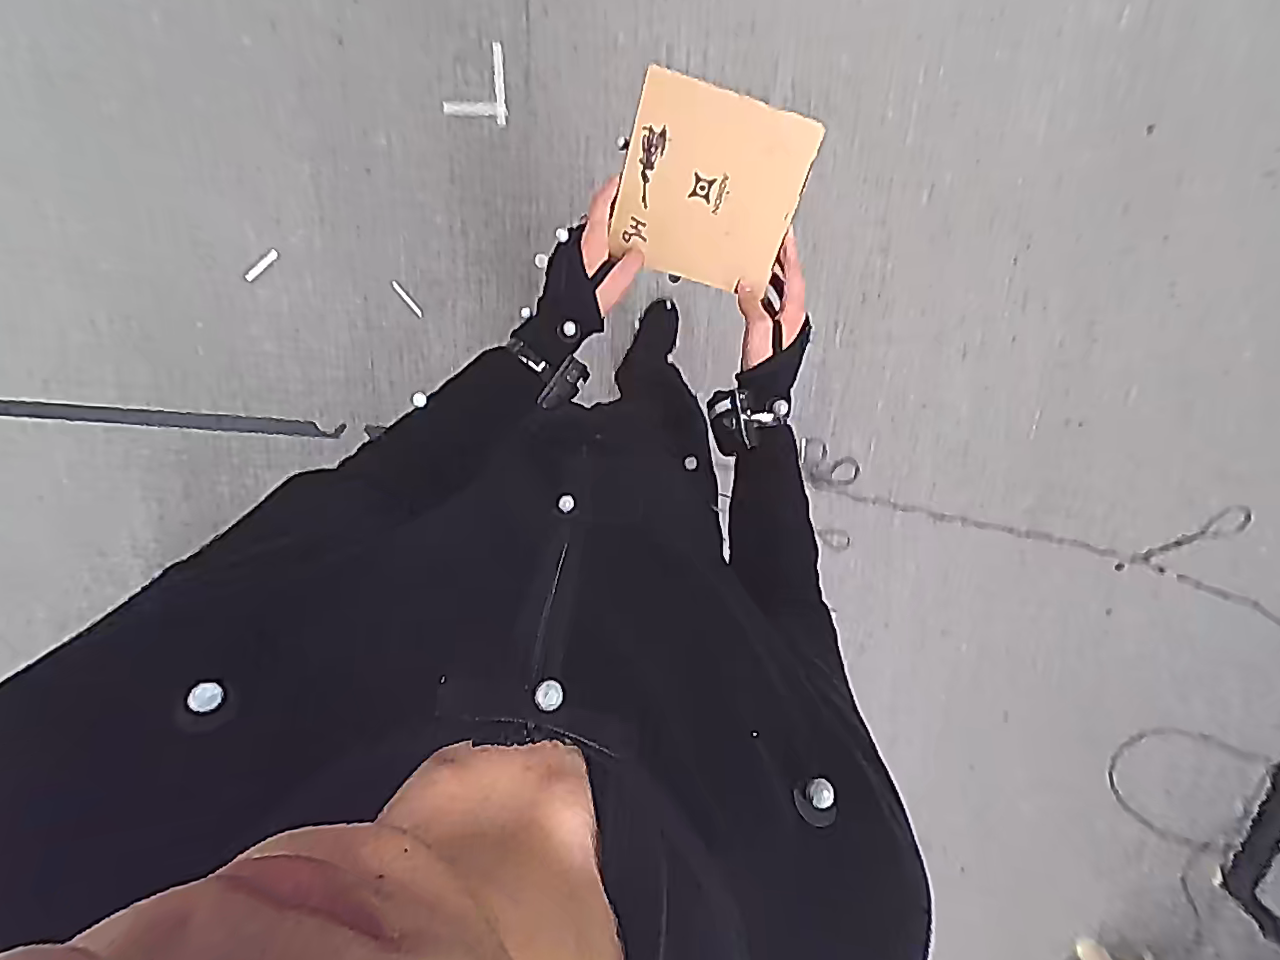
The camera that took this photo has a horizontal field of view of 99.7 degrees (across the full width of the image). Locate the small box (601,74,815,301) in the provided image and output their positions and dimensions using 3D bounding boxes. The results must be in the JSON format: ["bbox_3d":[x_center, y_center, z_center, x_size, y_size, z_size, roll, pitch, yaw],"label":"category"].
[{"bbox_3d":[0.063,-0.320,0.611,0.179,0.176,0.168,14,116,-7],"label":"small box"}]
